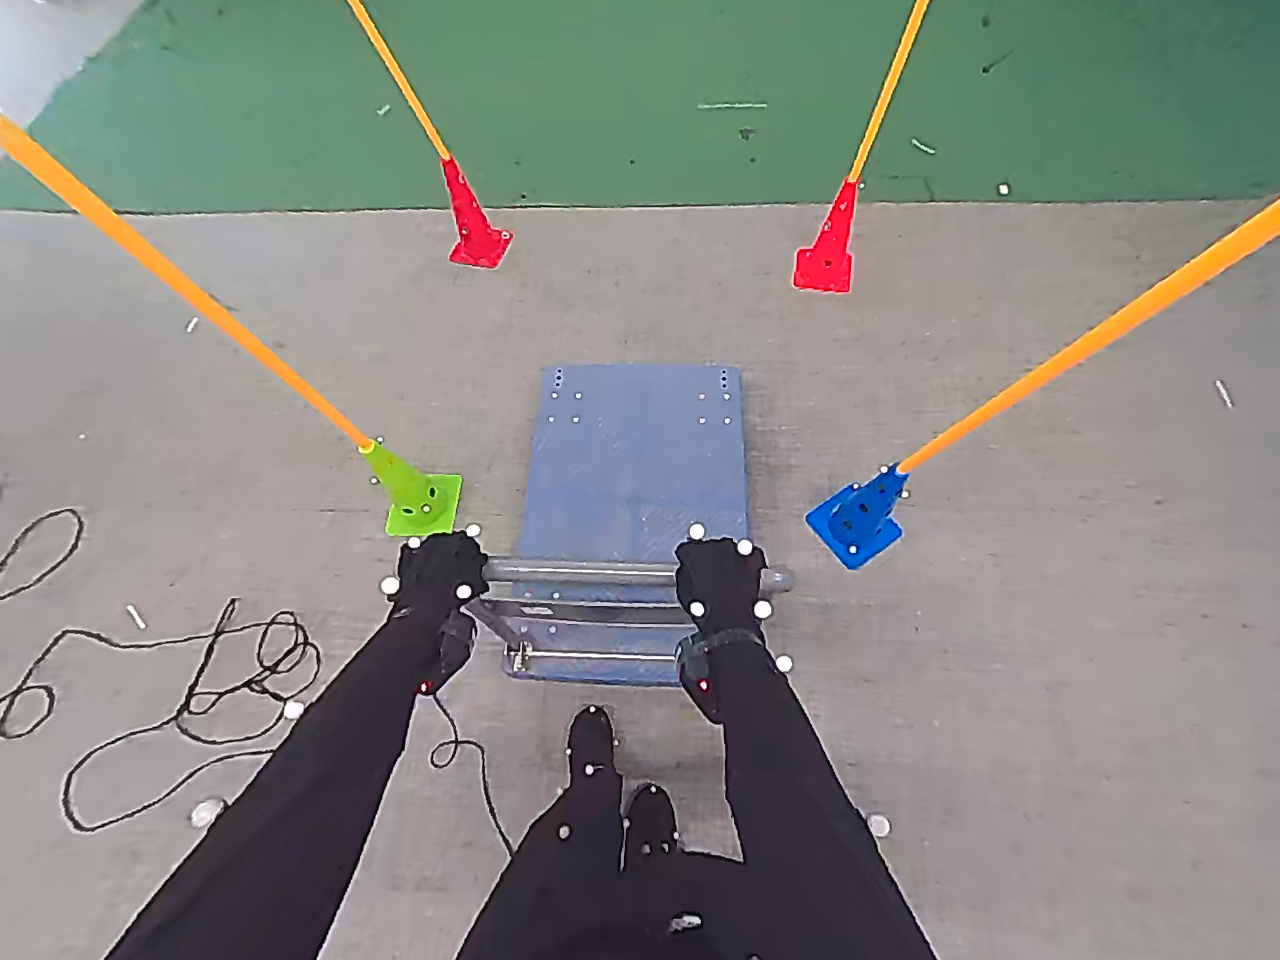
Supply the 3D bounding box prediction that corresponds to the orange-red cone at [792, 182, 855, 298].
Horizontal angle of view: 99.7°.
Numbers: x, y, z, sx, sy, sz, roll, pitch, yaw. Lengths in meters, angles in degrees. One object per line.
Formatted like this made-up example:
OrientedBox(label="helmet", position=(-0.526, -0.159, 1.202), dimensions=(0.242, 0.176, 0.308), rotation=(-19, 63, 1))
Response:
OrientedBox(label="orange-red cone", position=(0.645, -0.810, 1.791), dimensions=(0.198, 0.360, 0.199), rotation=(11, 66, 10))
